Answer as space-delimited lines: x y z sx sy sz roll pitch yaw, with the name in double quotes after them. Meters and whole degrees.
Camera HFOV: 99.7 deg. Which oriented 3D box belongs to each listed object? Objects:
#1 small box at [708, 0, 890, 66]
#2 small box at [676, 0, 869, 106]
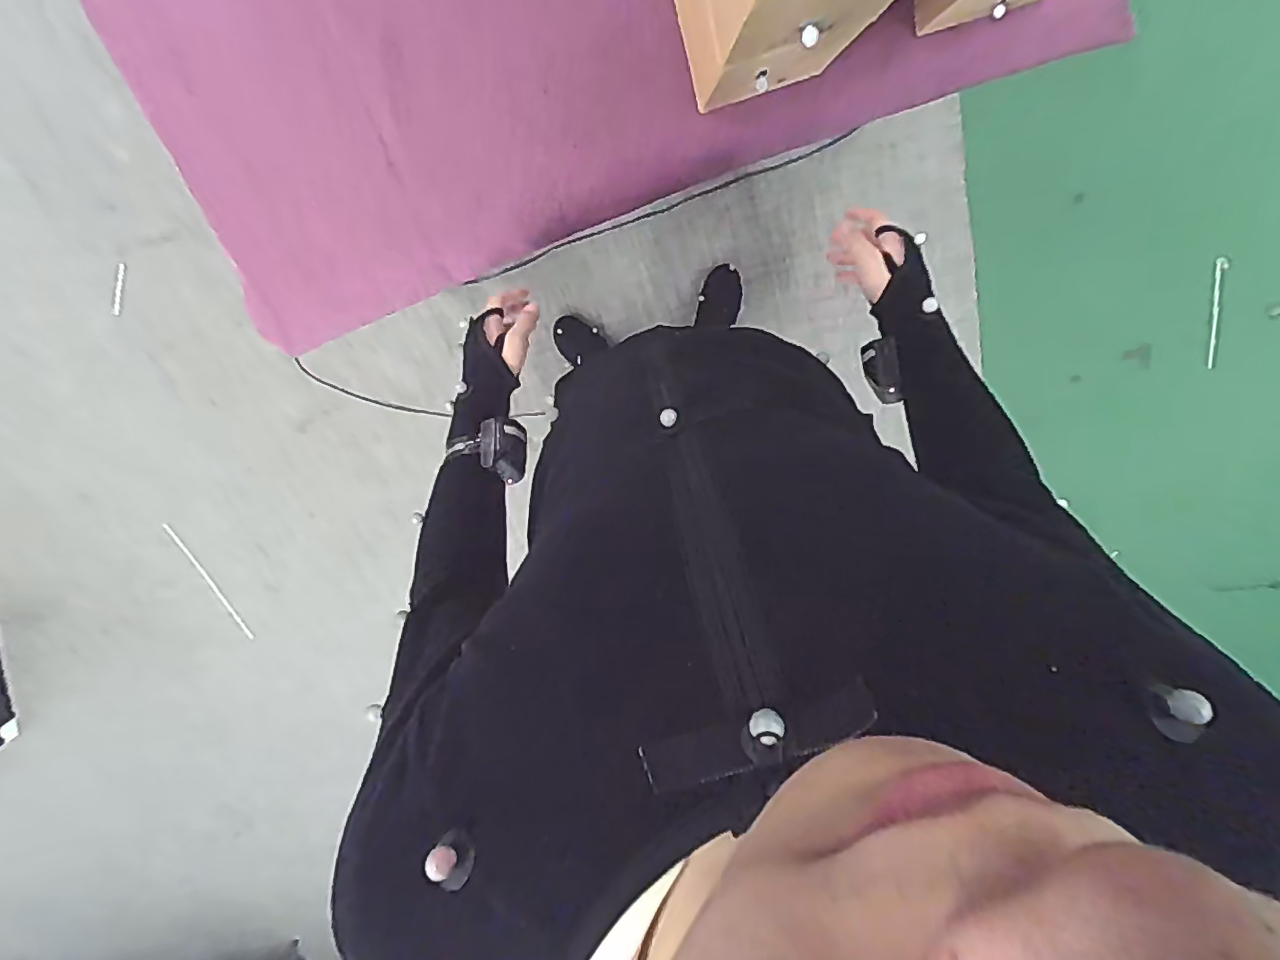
0.138 -0.492 0.446 0.168 0.176 0.179 -16 110 5 "small box"
0.134 -0.548 0.600 0.168 0.176 0.179 -16 109 5 "small box"
